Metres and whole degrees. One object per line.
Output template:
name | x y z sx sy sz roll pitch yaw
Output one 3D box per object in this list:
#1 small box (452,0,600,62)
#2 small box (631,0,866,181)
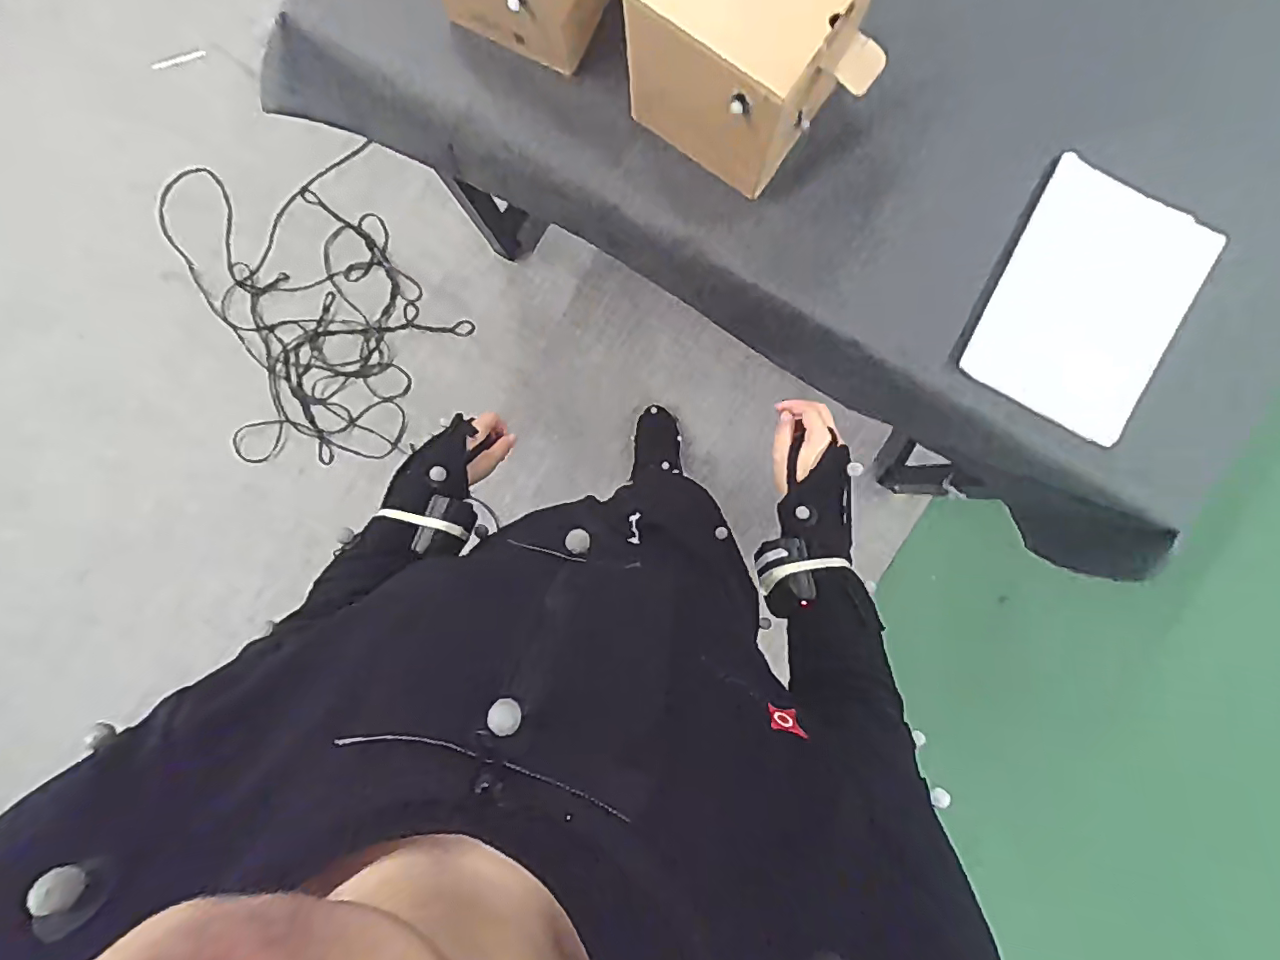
small box | -0.118 -0.582 0.543 0.168 0.176 0.179 26 90 0
small box | 0.100 -0.443 0.538 0.179 0.176 0.168 35 91 0
